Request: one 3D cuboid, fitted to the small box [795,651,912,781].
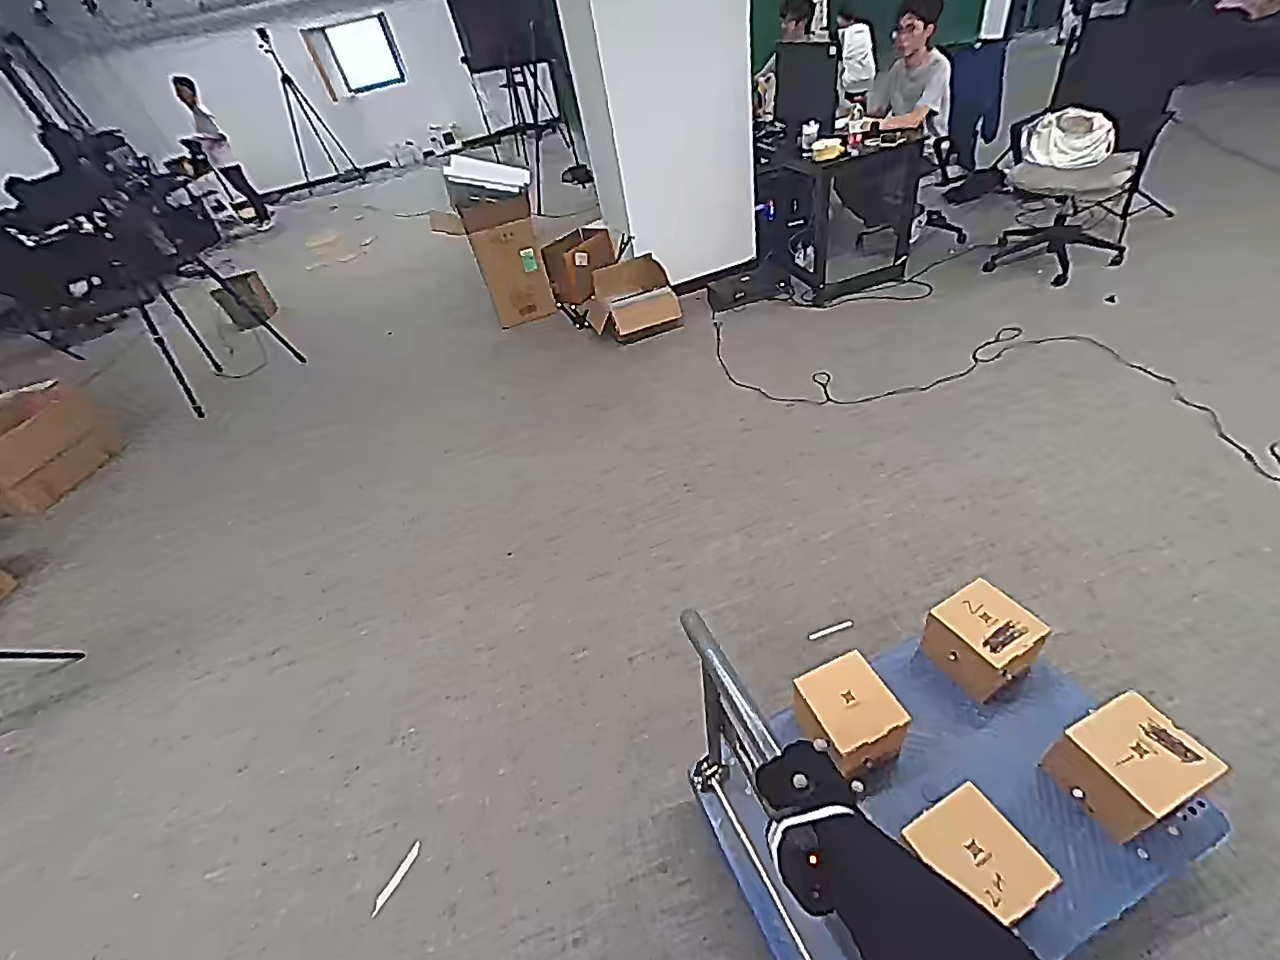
[{"bbox_3d":[0.455,0.517,1.184,0.168,0.176,0.179,-22,43,-9],"label":"small box"}]

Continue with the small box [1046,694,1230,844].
[{"bbox_3d":[0.922,0.547,1.023,0.179,0.176,0.168,-24,42,-9],"label":"small box"}]

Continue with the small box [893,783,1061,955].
[{"bbox_3d":[0.580,0.689,0.959,0.168,0.176,0.179,-25,42,-12],"label":"small box"}]
